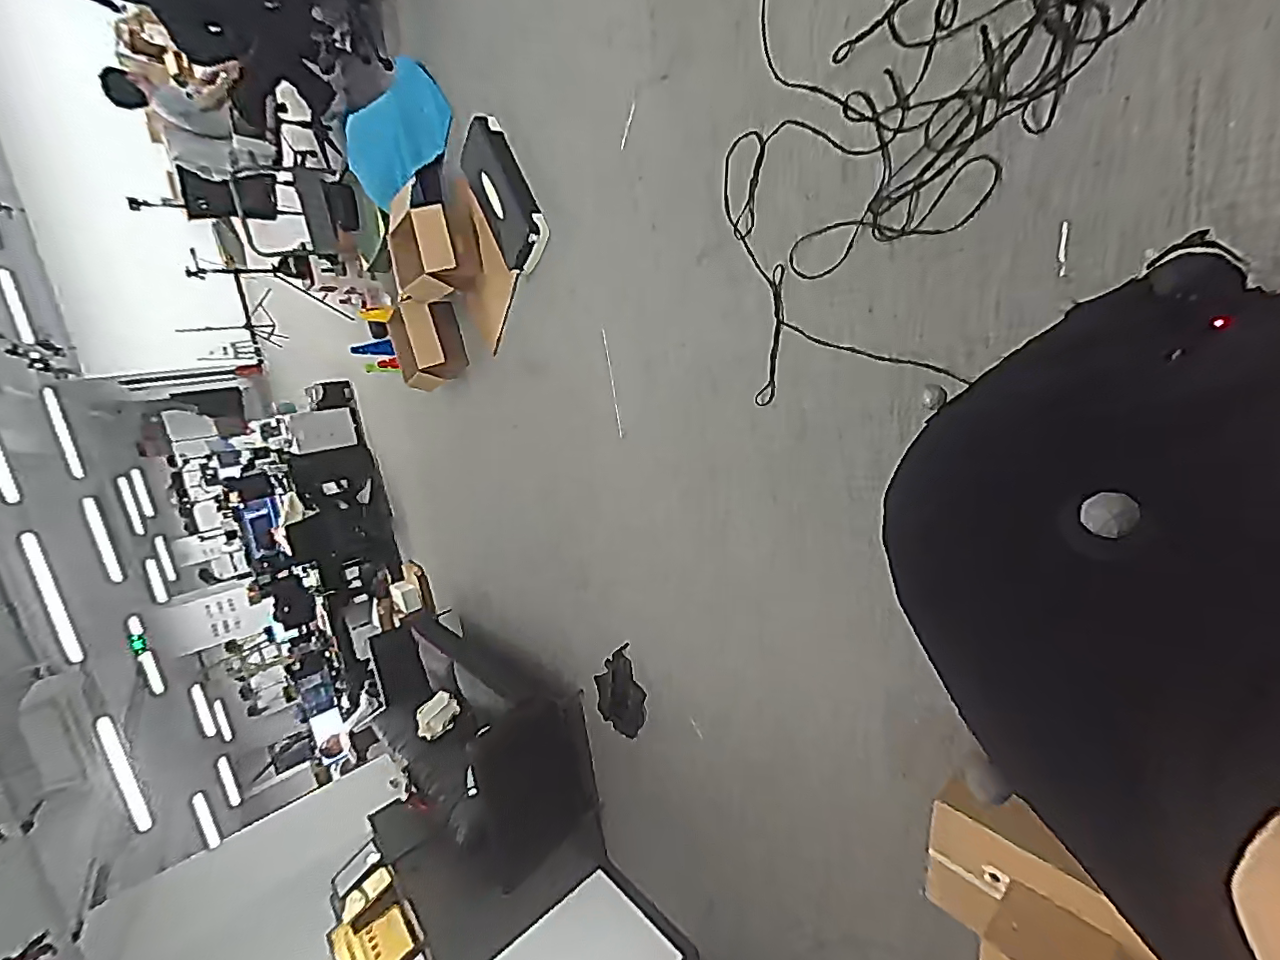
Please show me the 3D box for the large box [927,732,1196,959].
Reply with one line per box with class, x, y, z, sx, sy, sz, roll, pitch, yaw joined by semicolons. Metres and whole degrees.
large box;0.934;0.867;1.226;0.408;0.320;0.320;16;115;49
